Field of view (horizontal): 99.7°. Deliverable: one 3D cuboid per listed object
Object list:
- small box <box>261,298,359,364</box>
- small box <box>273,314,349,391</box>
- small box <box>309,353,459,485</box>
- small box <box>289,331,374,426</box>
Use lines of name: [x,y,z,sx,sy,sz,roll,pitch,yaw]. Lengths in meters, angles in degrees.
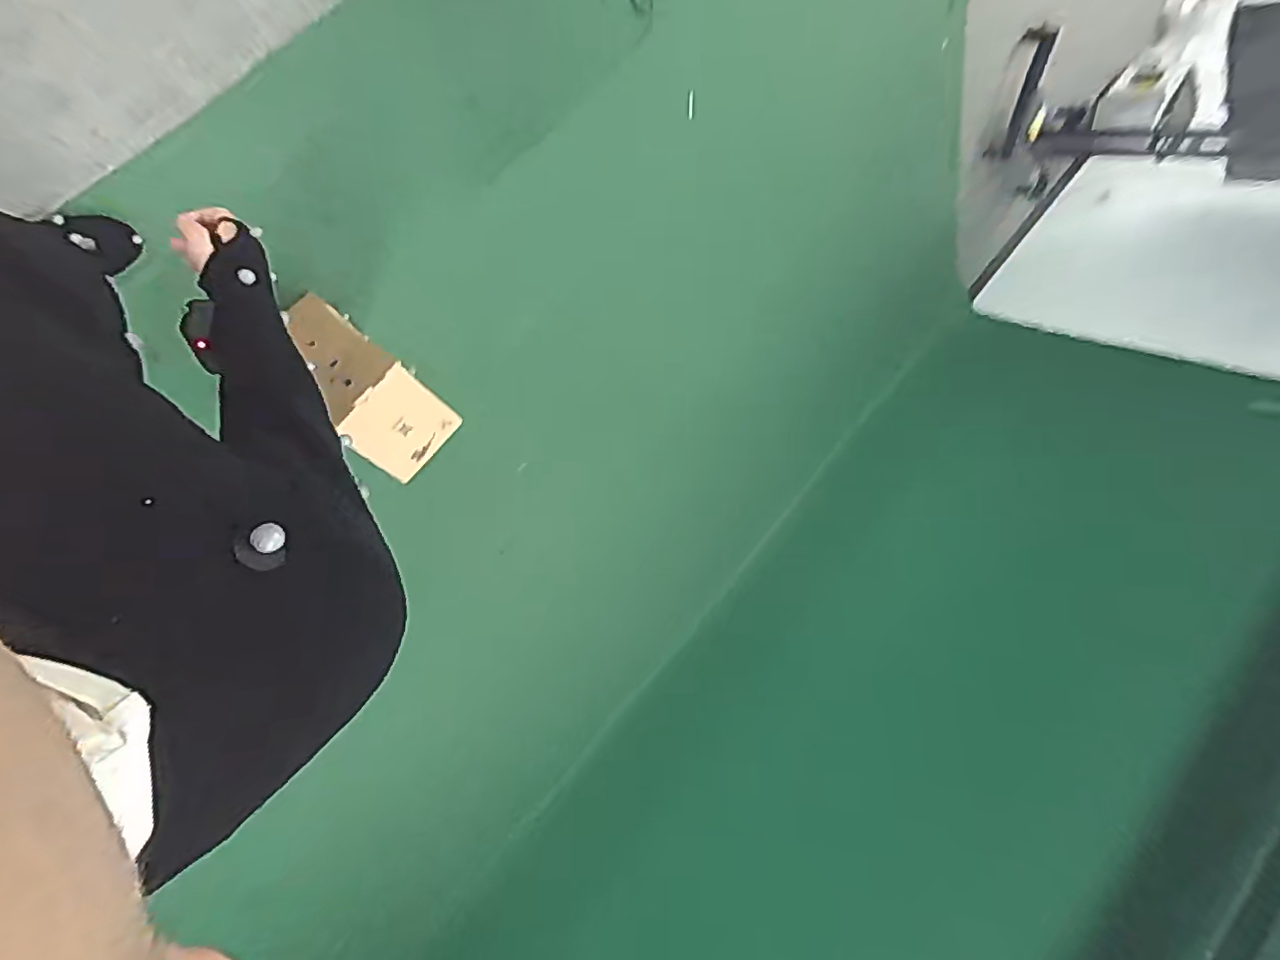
small box: [-0.810,-0.326,1.353,0.179,0.176,0.168,-48,138,-11]
small box: [-0.710,-0.253,1.248,0.179,0.176,0.168,-50,139,-9]
small box: [-0.493,-0.124,1.038,0.168,0.176,0.179,-49,138,-9]
small box: [-0.603,-0.187,1.143,0.179,0.176,0.168,-50,138,-7]
